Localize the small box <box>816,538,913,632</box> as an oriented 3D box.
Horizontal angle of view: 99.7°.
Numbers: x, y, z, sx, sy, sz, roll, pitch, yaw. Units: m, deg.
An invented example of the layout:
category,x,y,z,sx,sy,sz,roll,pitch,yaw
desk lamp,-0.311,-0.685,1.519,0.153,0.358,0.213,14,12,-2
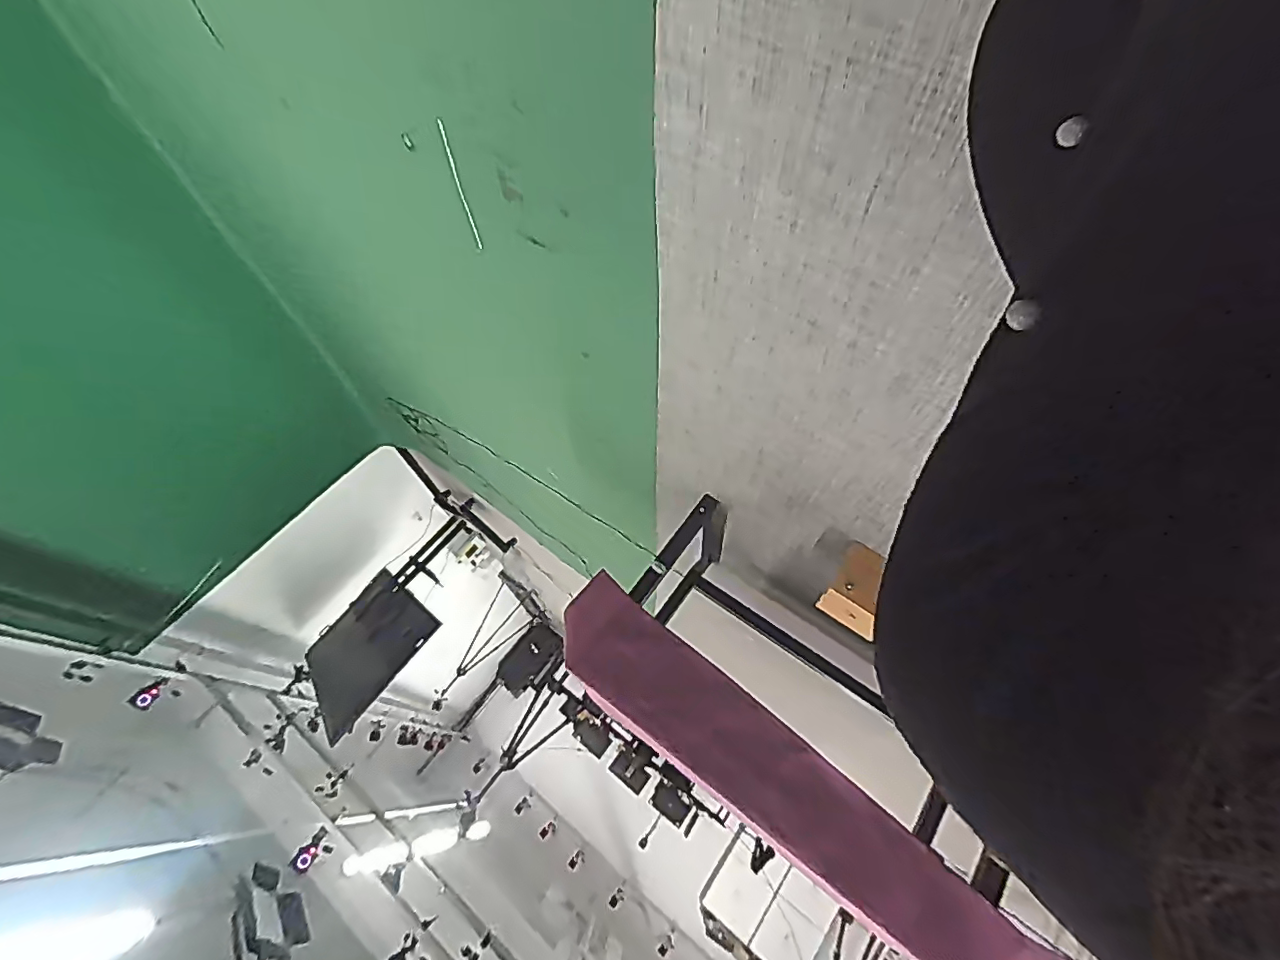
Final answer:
category,x,y,z,sx,sy,sz,roll,pitch,yaw
small box,0.633,0.294,1.525,0.179,0.176,0.168,34,157,20
